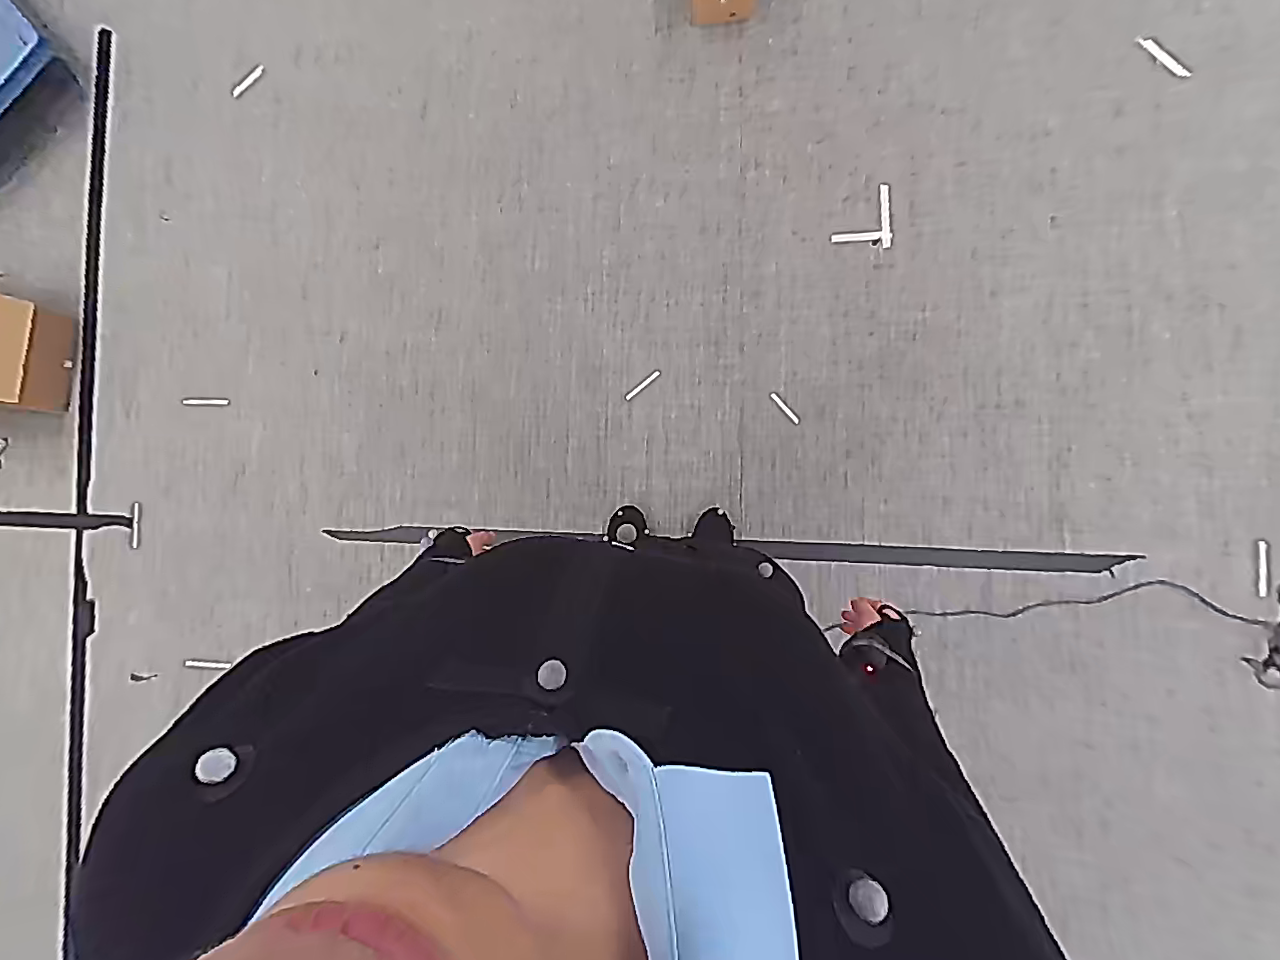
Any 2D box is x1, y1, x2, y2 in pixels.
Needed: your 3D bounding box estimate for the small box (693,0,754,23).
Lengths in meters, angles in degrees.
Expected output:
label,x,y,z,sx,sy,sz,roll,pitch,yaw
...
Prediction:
label,x,y,z,sx,sy,sz,roll,pitch,yaw
small box,0.224,-1.375,1.450,0.168,0.176,0.179,-3,87,6
